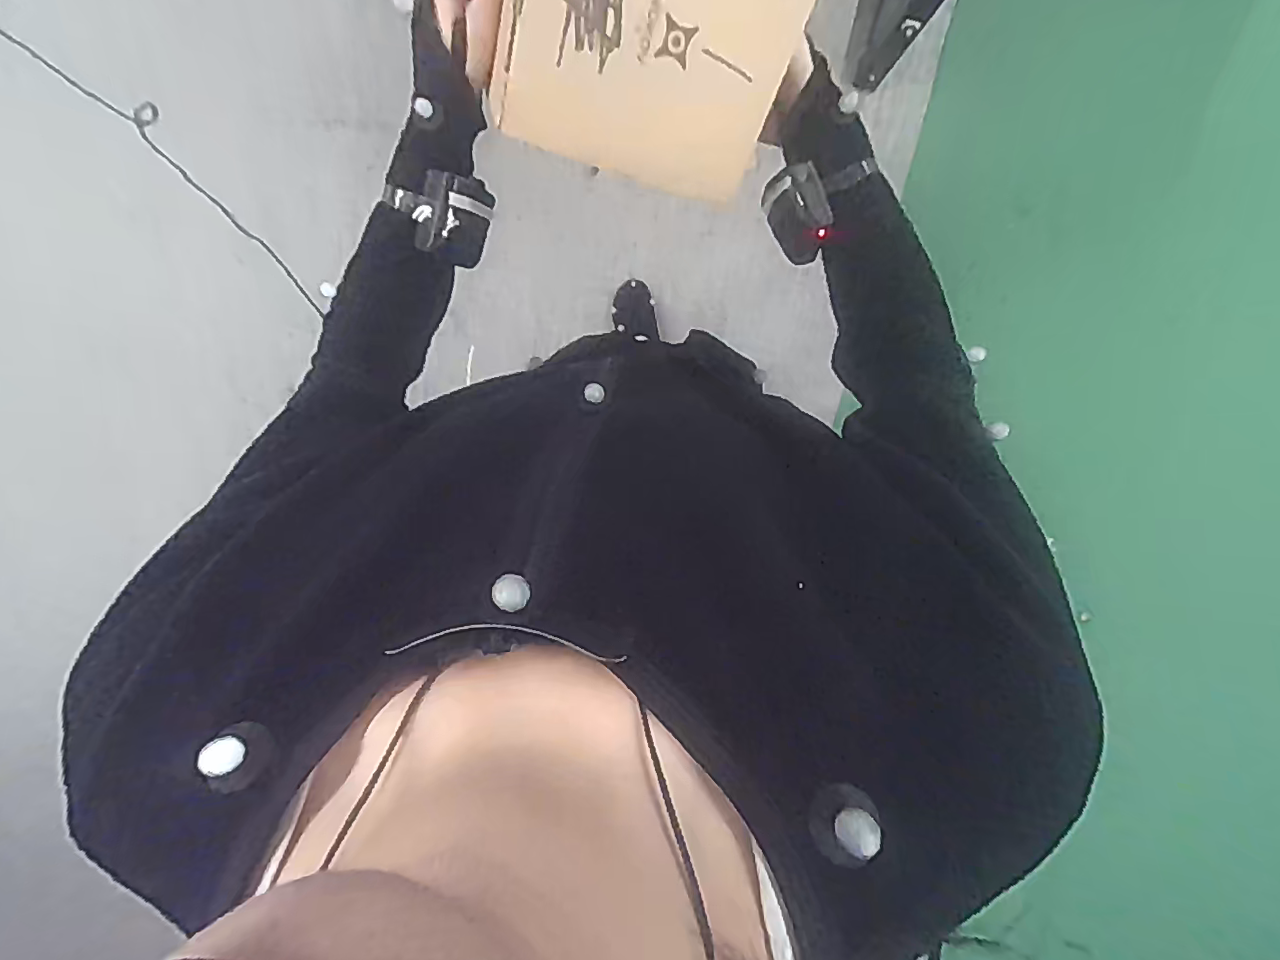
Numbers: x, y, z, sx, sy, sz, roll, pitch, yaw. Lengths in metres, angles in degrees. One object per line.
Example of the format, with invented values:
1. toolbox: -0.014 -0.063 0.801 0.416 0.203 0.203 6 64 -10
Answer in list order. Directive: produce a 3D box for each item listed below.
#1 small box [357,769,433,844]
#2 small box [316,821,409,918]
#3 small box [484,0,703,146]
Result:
1. small box: -0.799 1.086 1.743 0.168 0.176 0.179 30 105 -4
2. small box: -0.801 1.137 1.588 0.179 0.176 0.168 -6 105 5
3. small box: -0.048 -0.445 0.496 0.168 0.176 0.179 5 129 -23
